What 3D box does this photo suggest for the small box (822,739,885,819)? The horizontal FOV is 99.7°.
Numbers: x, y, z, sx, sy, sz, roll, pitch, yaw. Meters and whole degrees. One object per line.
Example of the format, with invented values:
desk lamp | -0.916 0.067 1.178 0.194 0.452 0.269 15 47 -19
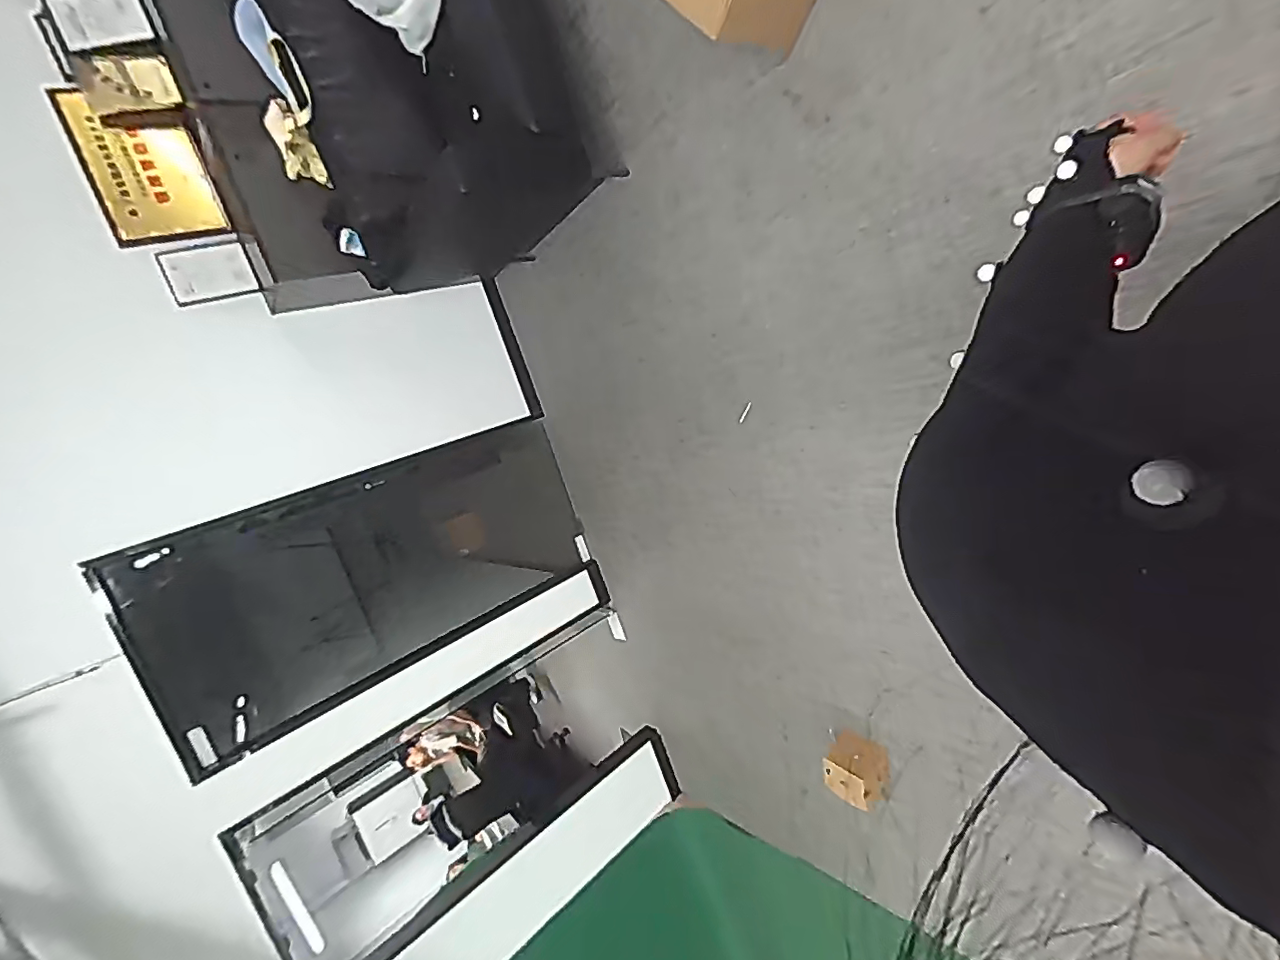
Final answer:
small box | 0.828 1.144 2.085 0.179 0.176 0.168 12 119 48
